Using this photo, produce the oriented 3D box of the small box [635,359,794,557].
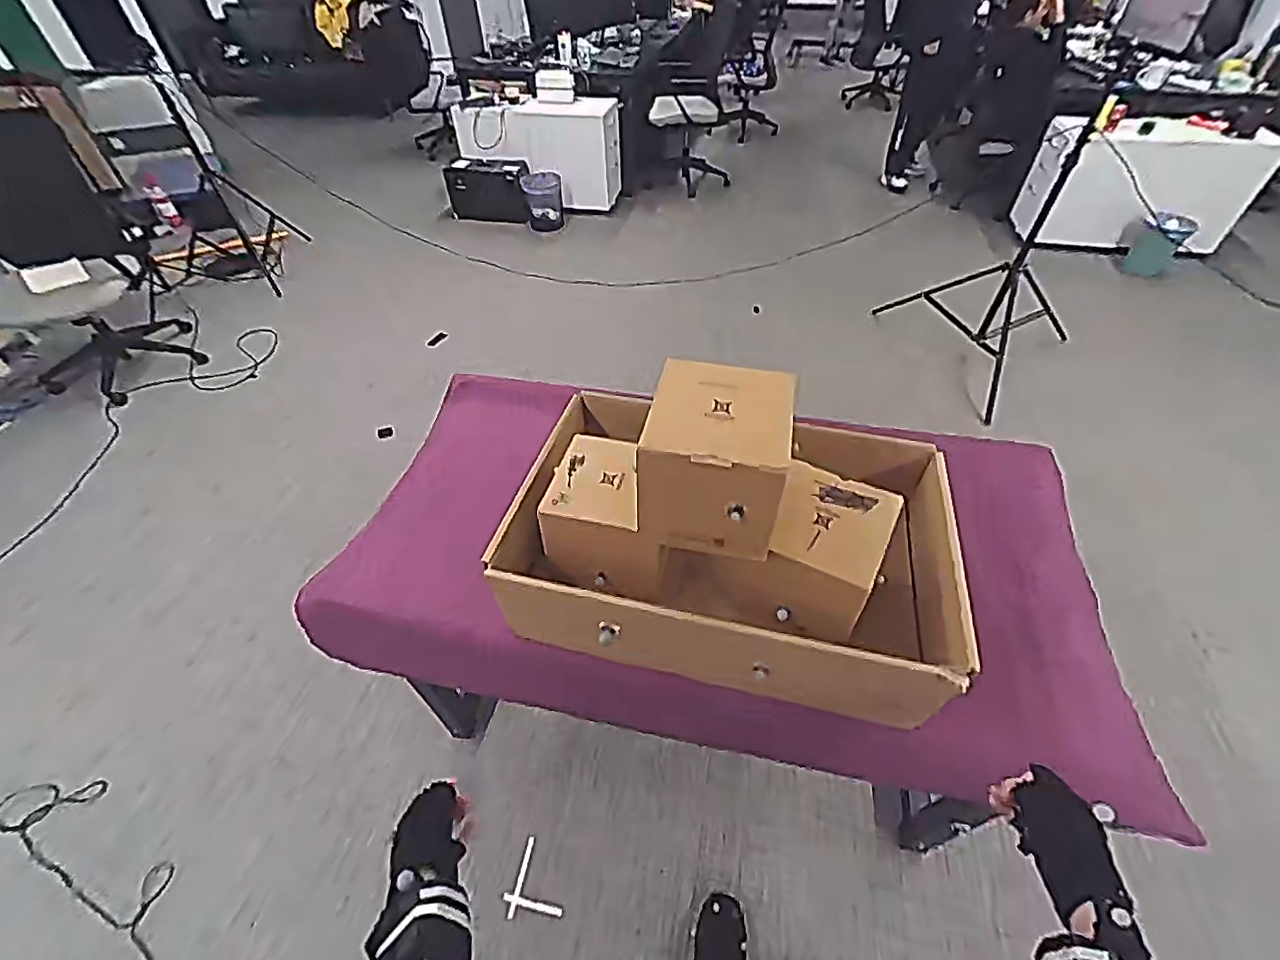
[{"bbox_3d":[0.094,-0.027,0.684,0.168,0.176,0.179,9,46,9],"label":"small box"}]
